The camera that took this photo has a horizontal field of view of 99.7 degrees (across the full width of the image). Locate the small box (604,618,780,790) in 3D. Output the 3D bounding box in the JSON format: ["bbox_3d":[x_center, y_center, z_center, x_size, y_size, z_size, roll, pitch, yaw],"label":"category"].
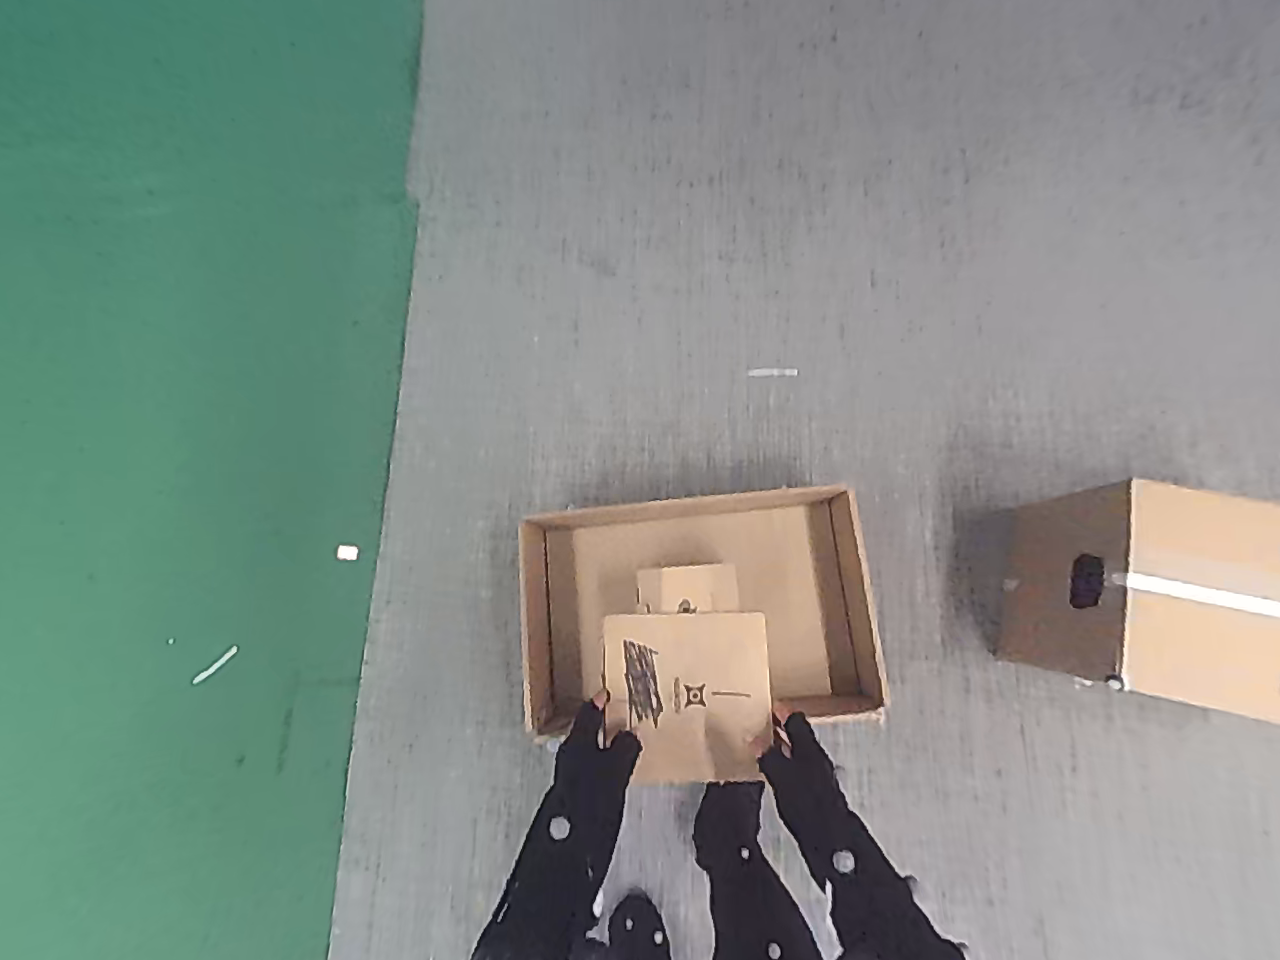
[{"bbox_3d":[0.052,0.249,0.631,0.179,0.176,0.168,-1,74,0],"label":"small box"}]

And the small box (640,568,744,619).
[{"bbox_3d":[0.098,0.257,1.010,0.179,0.176,0.168,-5,78,3],"label":"small box"}]
